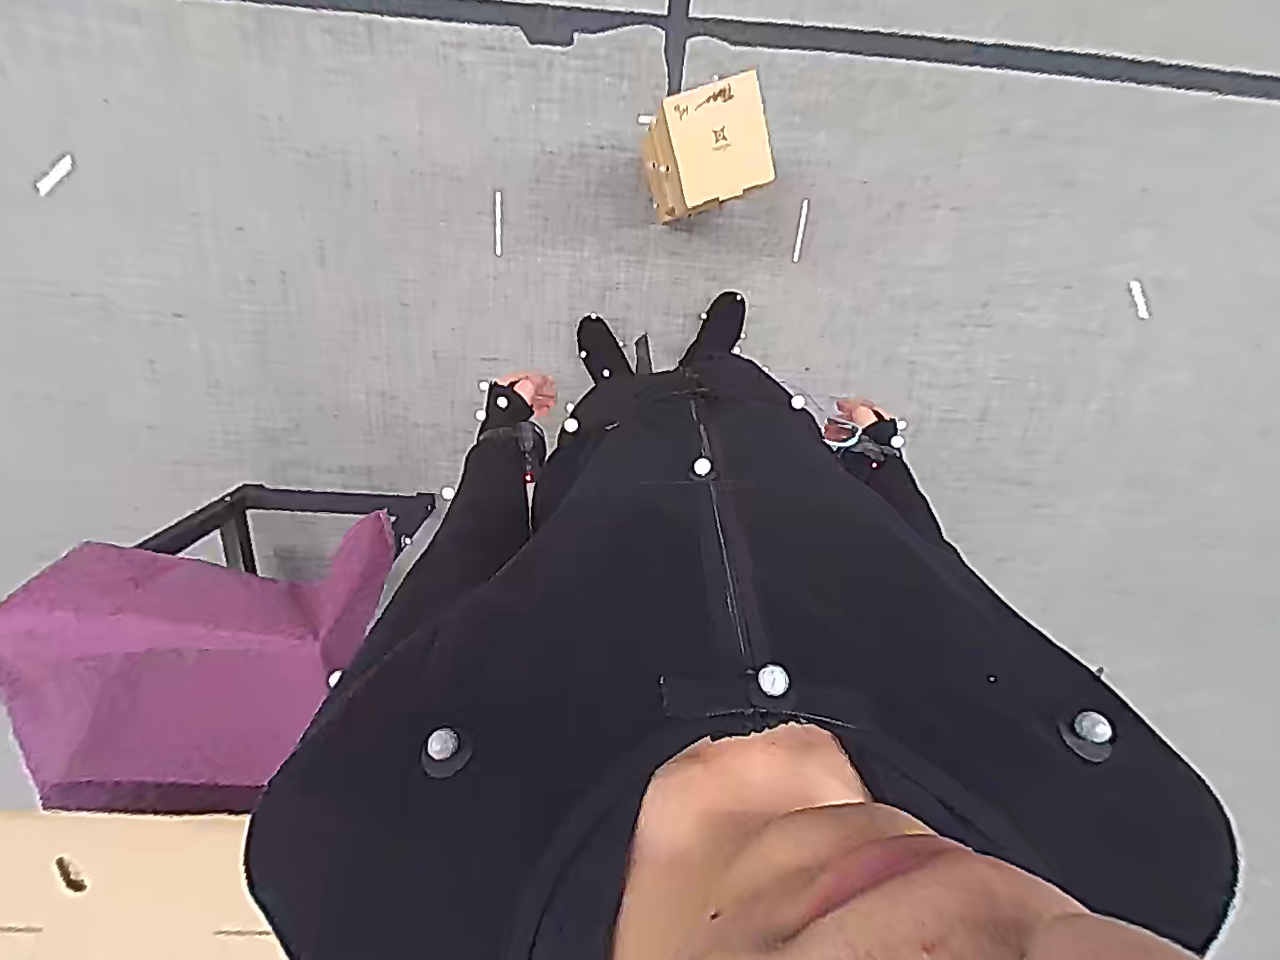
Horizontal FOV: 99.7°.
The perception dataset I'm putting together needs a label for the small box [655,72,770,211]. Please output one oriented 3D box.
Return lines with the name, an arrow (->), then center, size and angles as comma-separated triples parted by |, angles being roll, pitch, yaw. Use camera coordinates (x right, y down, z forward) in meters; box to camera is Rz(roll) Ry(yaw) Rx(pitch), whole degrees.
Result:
small box -> 0.131, -0.621, 1.017 | 0.168, 0.176, 0.179 | -16, 112, 3
